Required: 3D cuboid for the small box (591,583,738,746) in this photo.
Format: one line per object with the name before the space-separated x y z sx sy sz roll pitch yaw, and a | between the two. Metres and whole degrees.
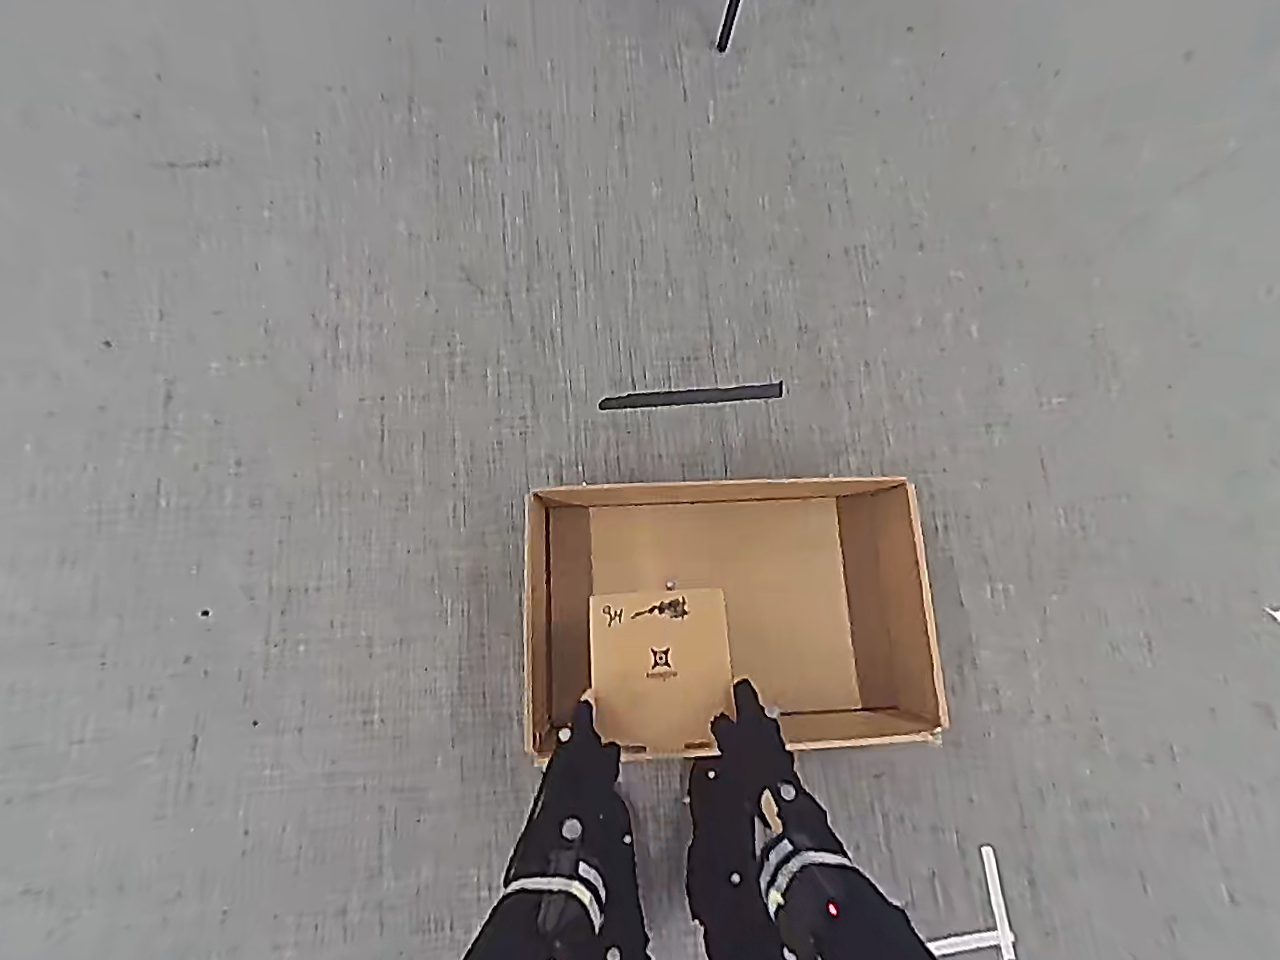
small box | 0.030 0.234 0.709 0.168 0.176 0.179 -4 73 1
